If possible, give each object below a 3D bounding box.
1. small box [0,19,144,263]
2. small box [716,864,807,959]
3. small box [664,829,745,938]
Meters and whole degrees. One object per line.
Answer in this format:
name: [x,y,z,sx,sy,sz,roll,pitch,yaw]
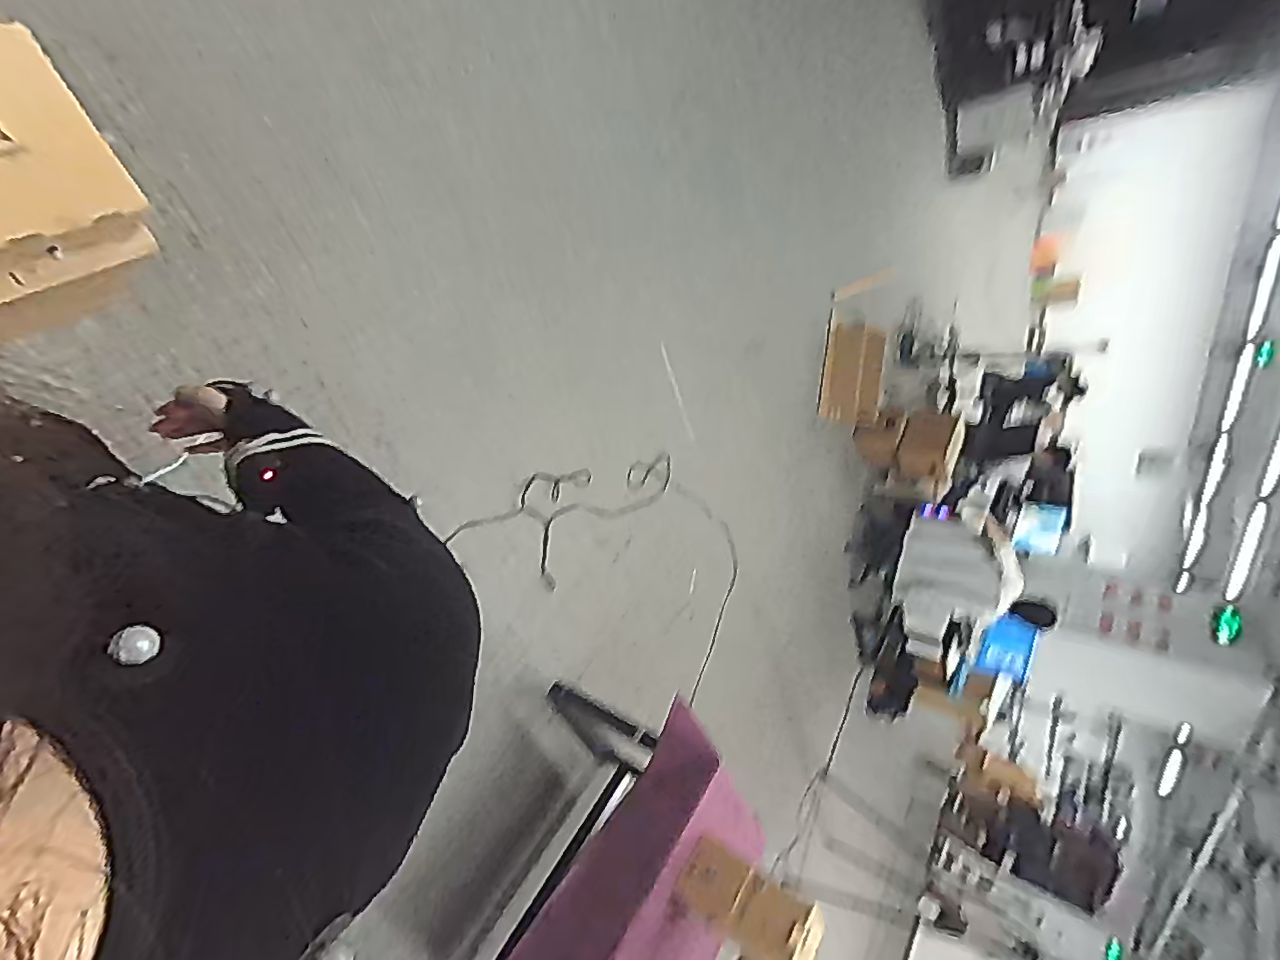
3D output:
small box: [-0.702,-0.352,0.585,0.168,0.176,0.179,-43,128,-34]
small box: [0.318,1.157,1.416,0.168,0.176,0.179,-45,130,-34]
small box: [0.192,1.126,1.519,0.168,0.176,0.179,-45,129,-33]
